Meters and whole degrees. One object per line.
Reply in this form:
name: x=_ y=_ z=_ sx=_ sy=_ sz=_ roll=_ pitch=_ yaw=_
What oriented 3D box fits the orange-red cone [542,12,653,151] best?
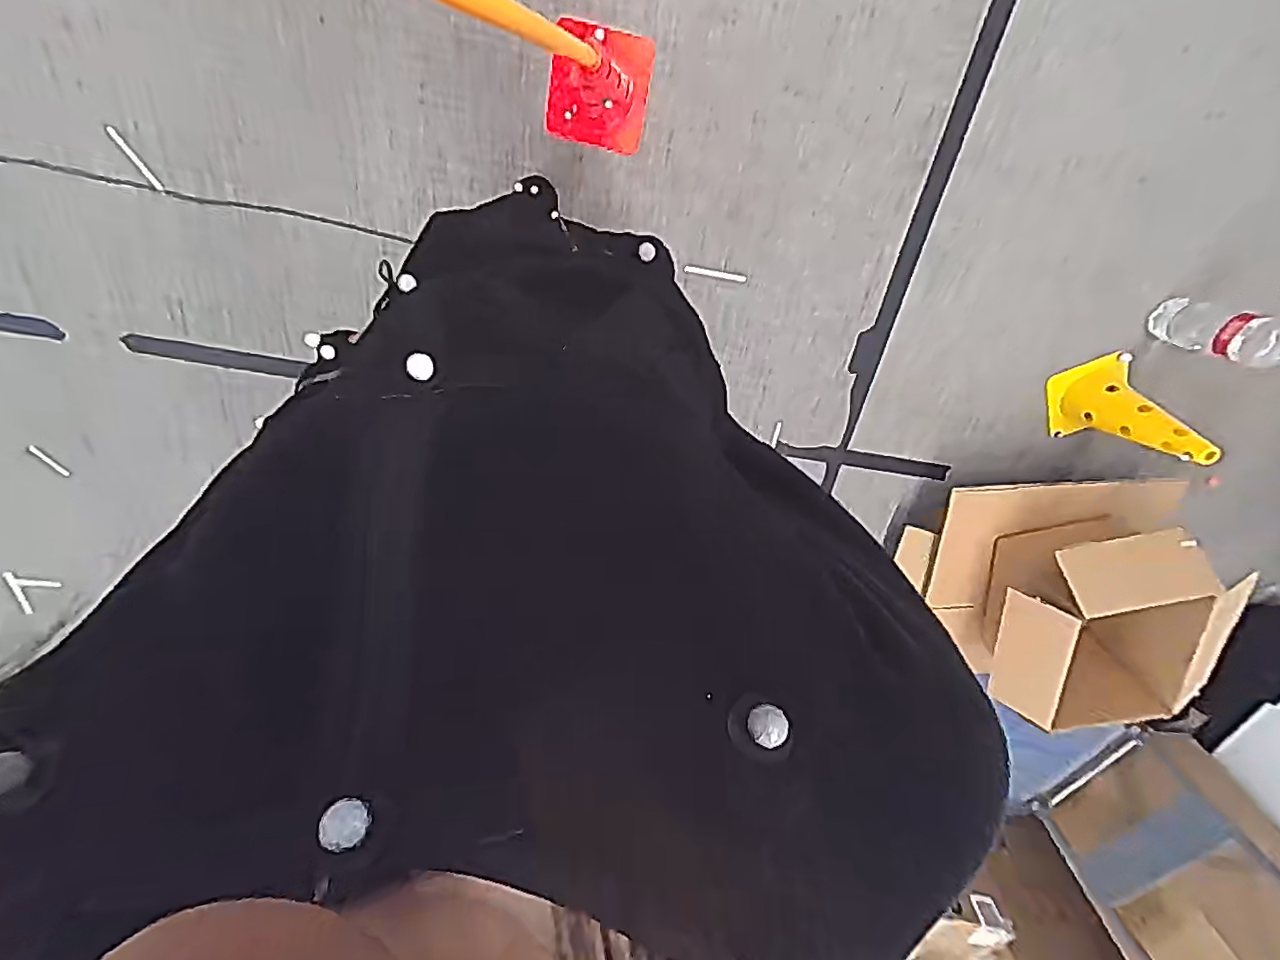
orange-red cone: x=-0.082 y=-0.704 z=0.935 sx=0.199 sy=0.360 sz=0.198 roll=11 pitch=119 yaw=-9
